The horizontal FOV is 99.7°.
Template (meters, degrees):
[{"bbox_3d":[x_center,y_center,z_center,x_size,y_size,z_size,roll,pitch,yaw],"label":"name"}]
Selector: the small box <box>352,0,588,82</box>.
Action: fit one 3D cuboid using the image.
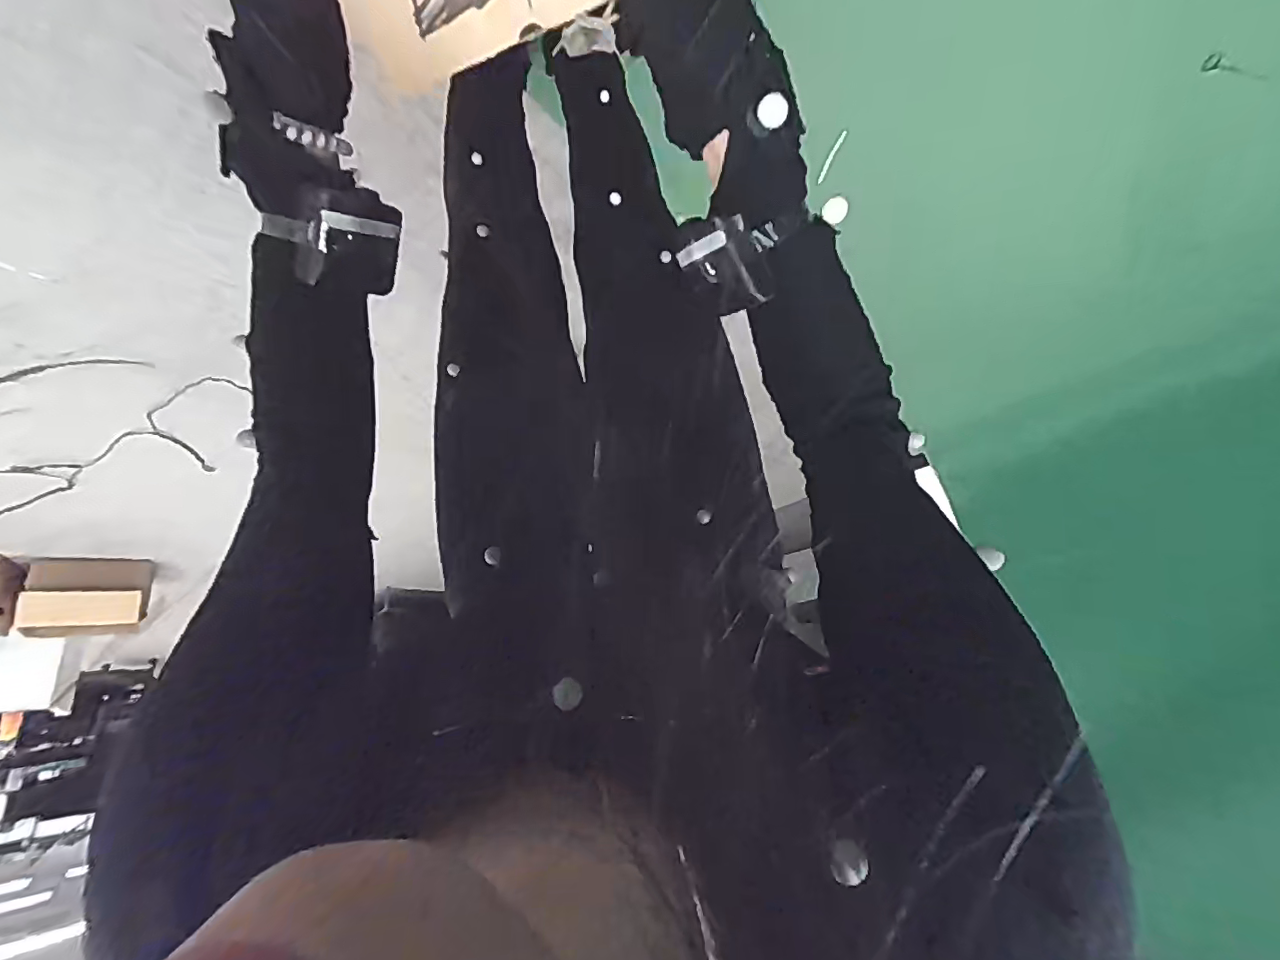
[{"bbox_3d":[-0.100,-0.348,0.248,0.168,0.176,0.179,-24,157,3],"label":"small box"}]
